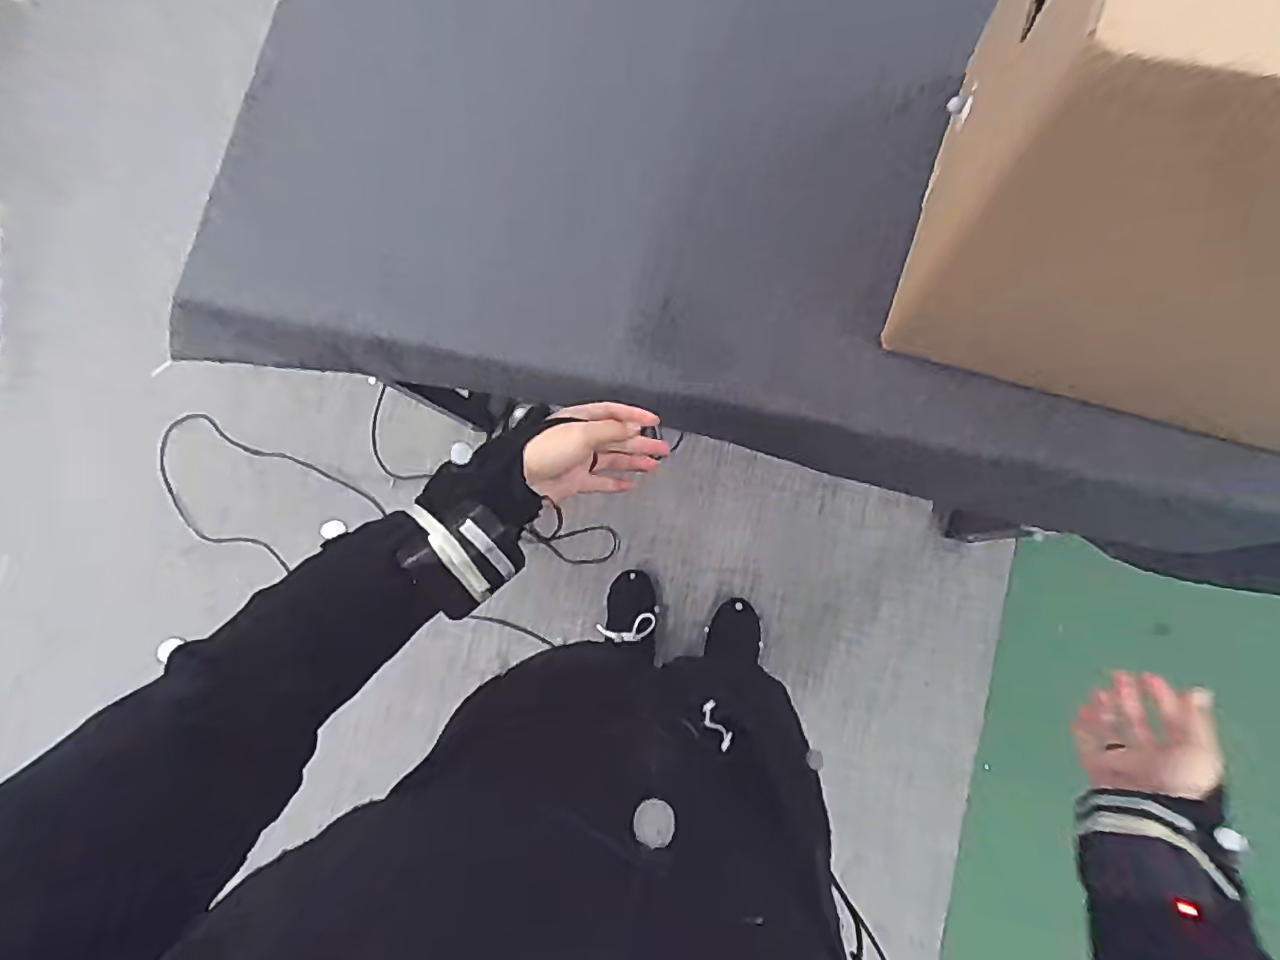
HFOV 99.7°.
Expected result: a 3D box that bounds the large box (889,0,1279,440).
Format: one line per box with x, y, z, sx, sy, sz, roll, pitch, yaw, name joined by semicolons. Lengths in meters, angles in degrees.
0.442;-0.235;0.349;0.408;0.320;0.320;18;85;11;large box
